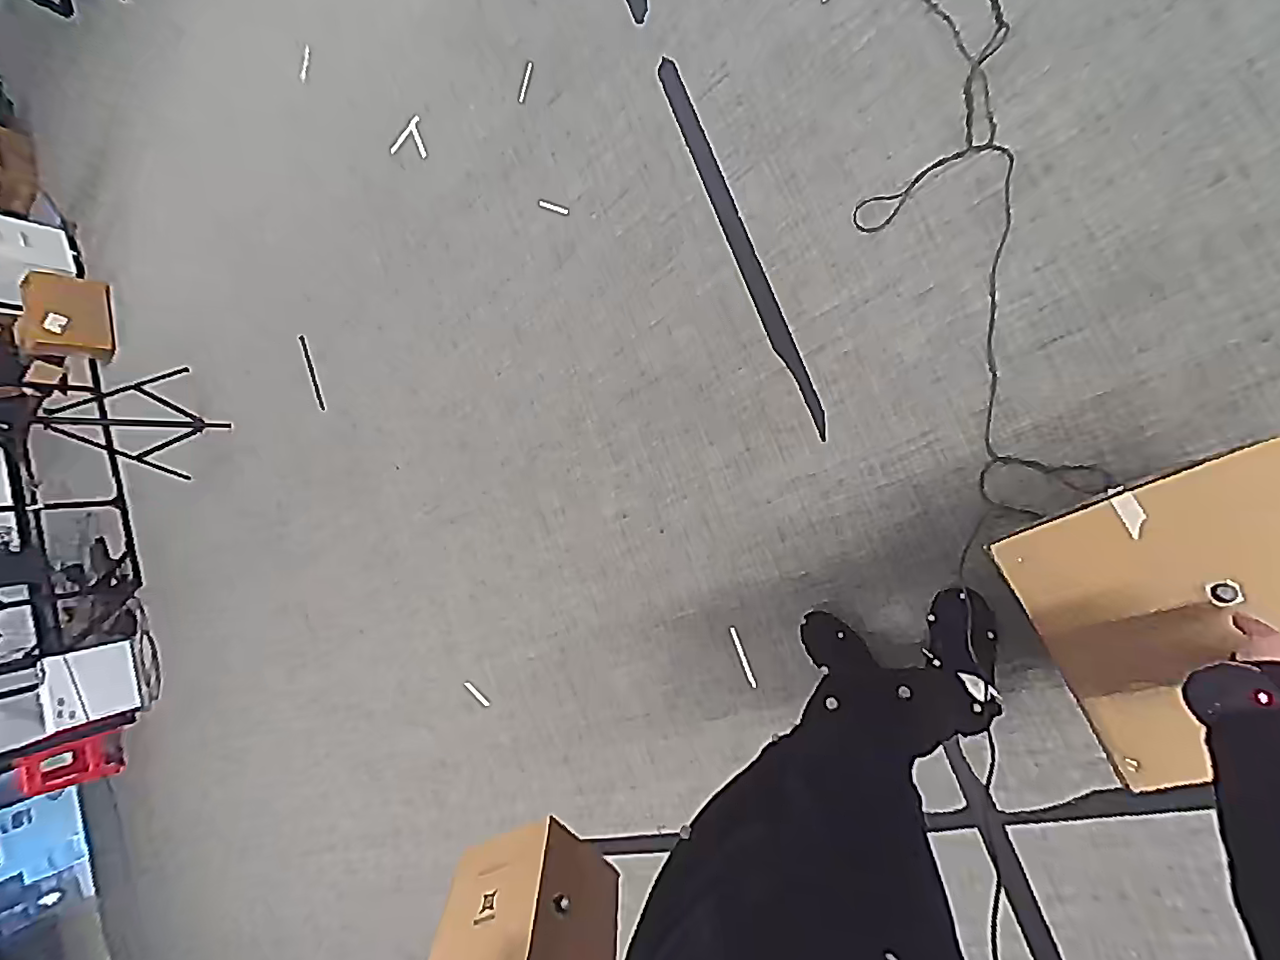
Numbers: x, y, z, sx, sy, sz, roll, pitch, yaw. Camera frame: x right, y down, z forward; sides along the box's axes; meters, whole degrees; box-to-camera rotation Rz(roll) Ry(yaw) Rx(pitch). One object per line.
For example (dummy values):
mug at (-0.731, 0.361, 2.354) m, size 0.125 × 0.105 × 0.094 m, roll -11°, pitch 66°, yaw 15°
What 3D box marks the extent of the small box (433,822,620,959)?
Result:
small box at (-0.140, 0.595, 0.699) m, size 0.168 × 0.179 × 0.176 m, roll -30°, pitch 113°, yaw 15°
